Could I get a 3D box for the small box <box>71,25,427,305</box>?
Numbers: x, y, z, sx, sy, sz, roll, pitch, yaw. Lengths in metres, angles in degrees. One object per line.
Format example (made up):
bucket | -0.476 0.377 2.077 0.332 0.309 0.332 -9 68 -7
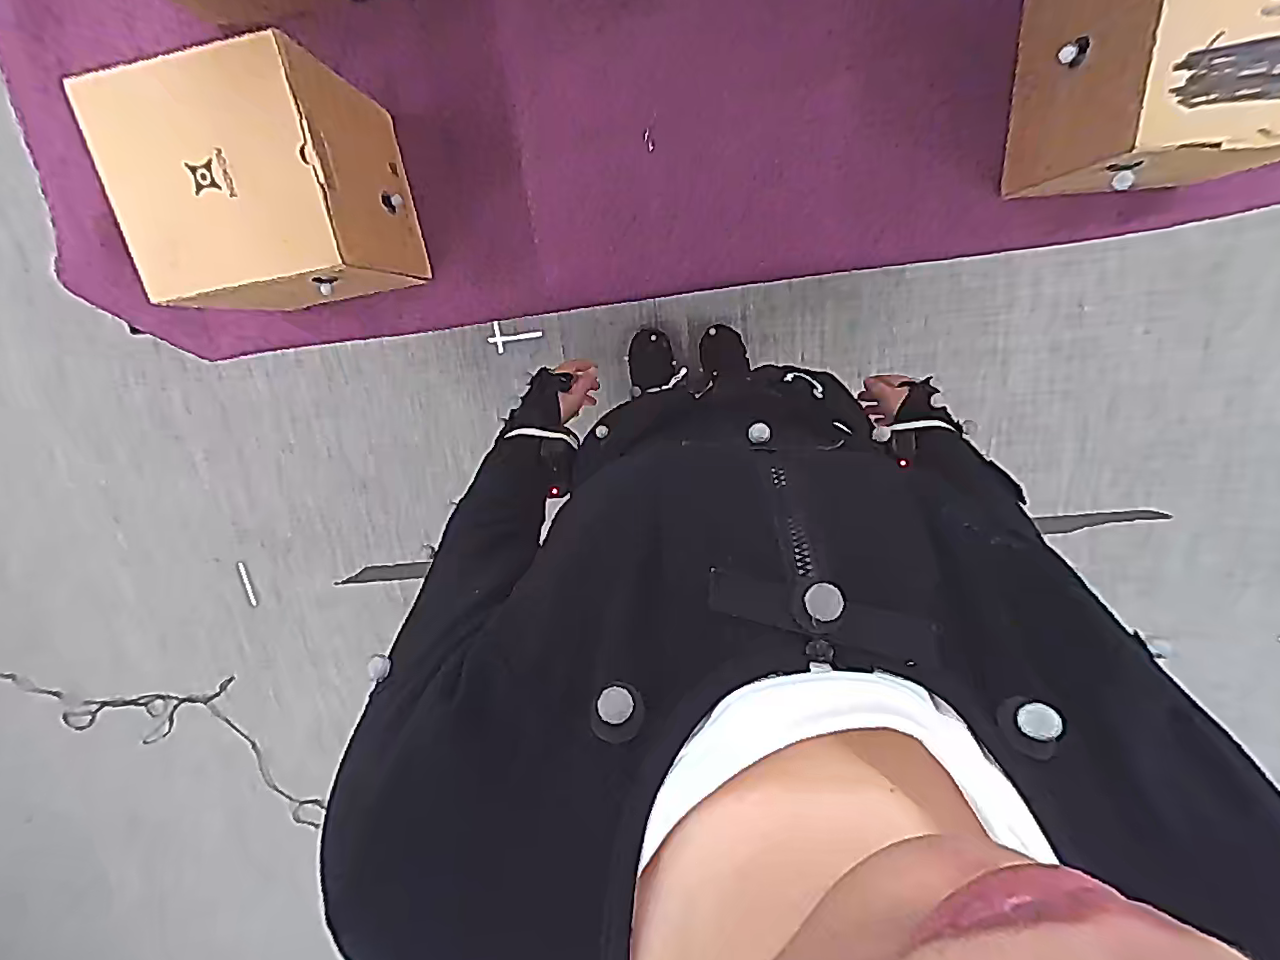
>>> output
small box | -0.331 -0.263 0.499 0.179 0.176 0.168 -10 106 5
